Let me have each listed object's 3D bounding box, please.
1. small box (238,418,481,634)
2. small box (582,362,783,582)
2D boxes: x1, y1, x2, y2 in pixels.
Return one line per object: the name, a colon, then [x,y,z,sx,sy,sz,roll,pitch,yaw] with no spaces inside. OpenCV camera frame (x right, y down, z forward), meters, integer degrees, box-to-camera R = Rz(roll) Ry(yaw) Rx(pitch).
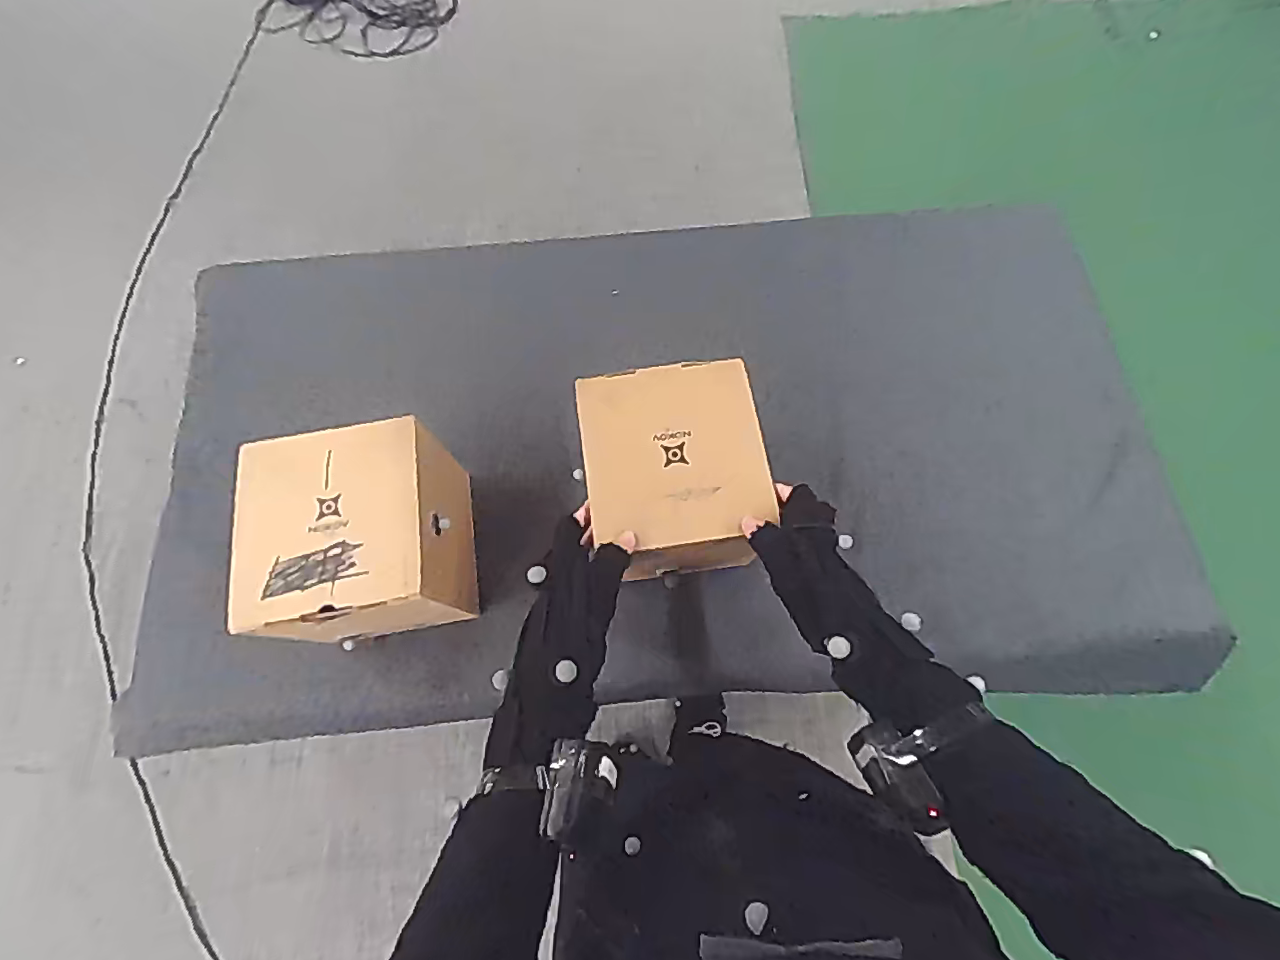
small box: [-0.273,0.059,0.564,0.168,0.176,0.179,-10,70,-2]
small box: [0.034,0.001,0.574,0.168,0.176,0.179,-8,72,-2]
